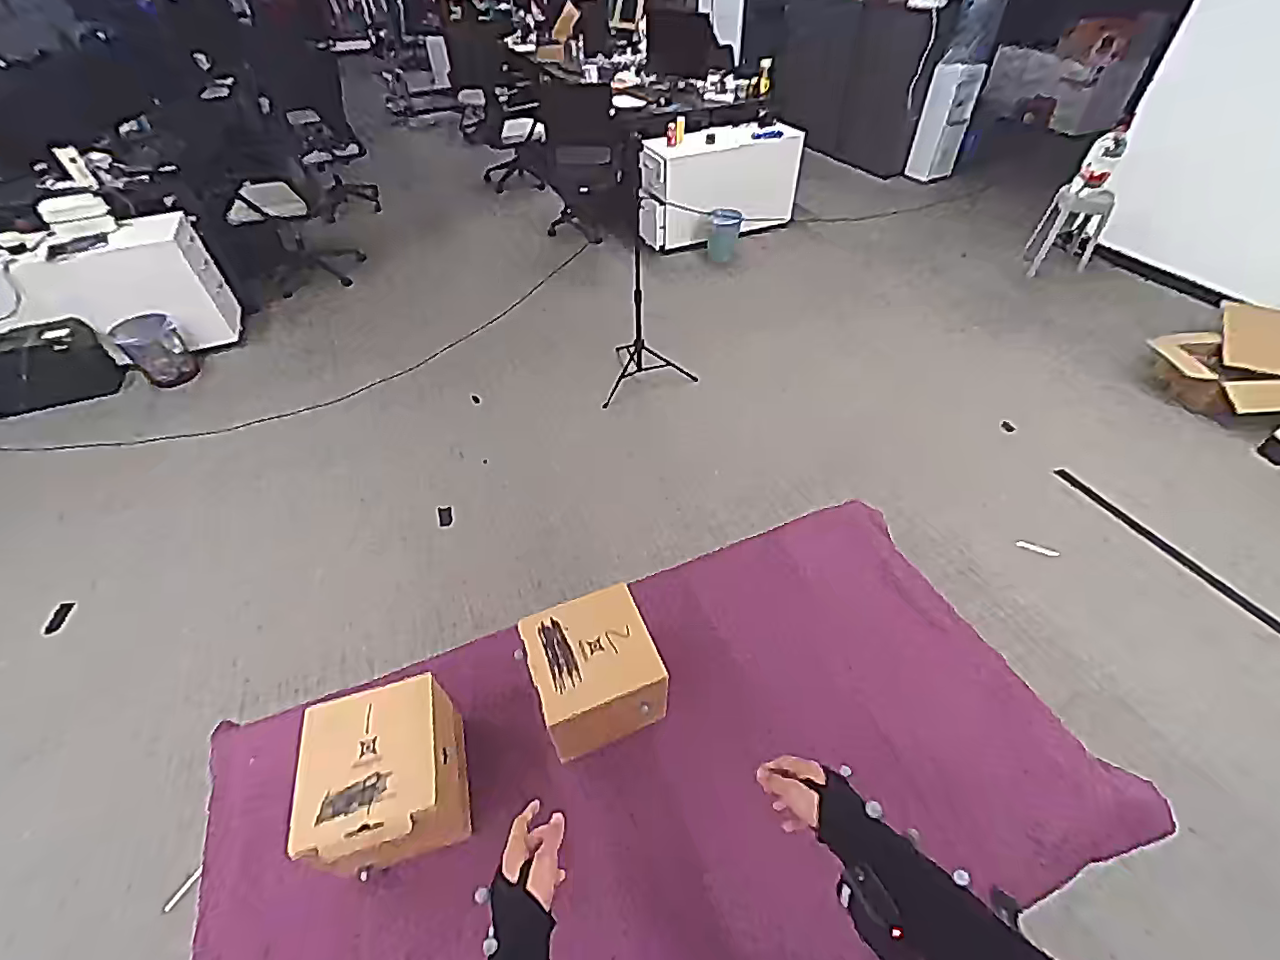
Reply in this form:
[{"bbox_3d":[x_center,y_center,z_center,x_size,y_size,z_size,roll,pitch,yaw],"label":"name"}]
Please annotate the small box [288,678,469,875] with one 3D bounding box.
[{"bbox_3d":[-0.338,0.403,0.728,0.168,0.176,0.179,-14,47,-11],"label":"small box"}]
